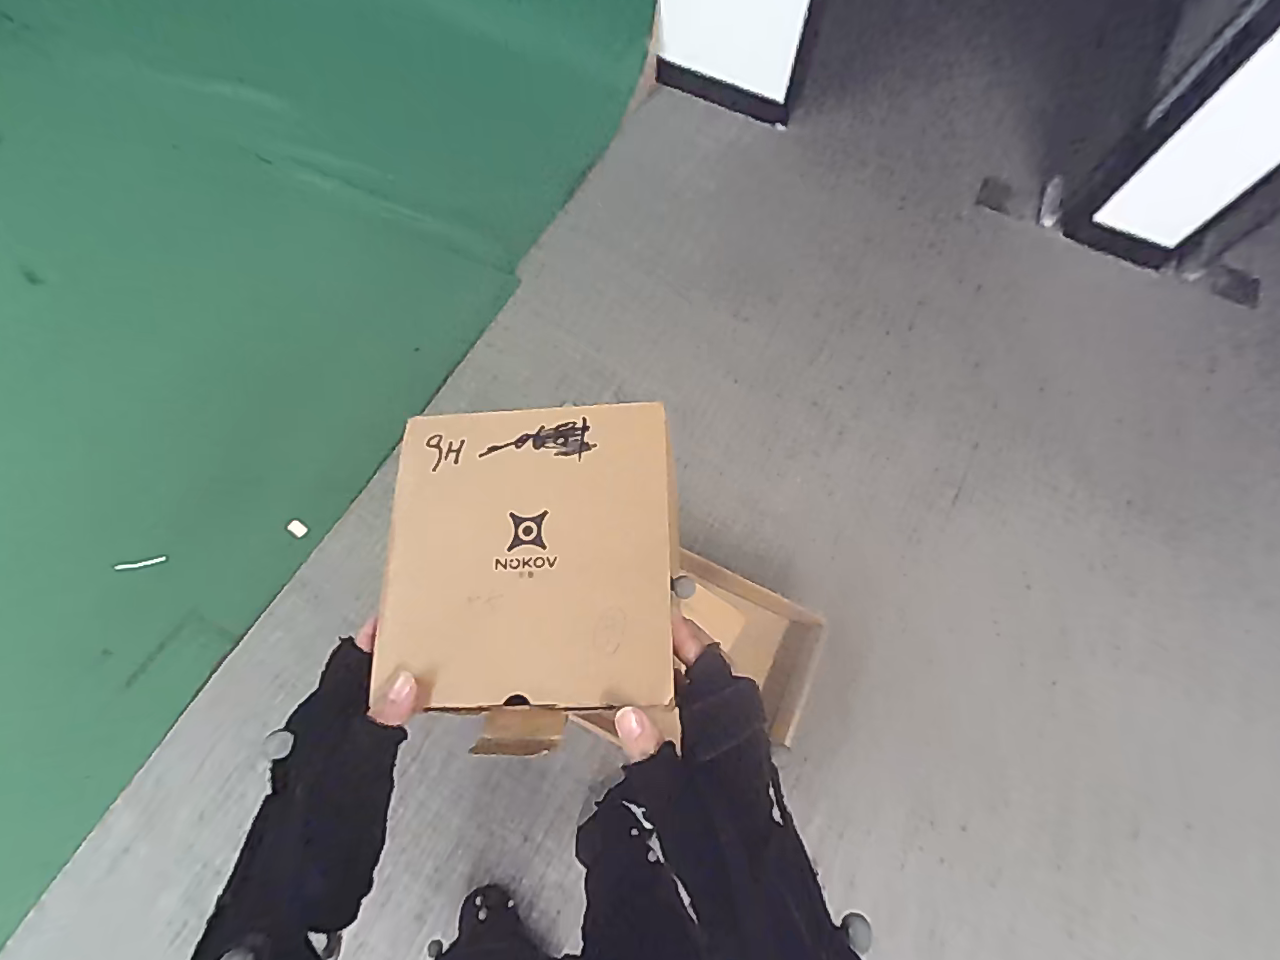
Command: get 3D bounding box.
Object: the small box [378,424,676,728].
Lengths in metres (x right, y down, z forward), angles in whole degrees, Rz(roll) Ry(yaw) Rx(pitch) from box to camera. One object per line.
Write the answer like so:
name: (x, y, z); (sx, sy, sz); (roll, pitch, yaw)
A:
small box: (-0.065, 0.078, 0.404); (0.168, 0.176, 0.179); (-6, 70, 6)

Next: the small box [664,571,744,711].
small box: (0.066, 0.299, 0.994); (0.168, 0.176, 0.179); (33, 72, 11)
